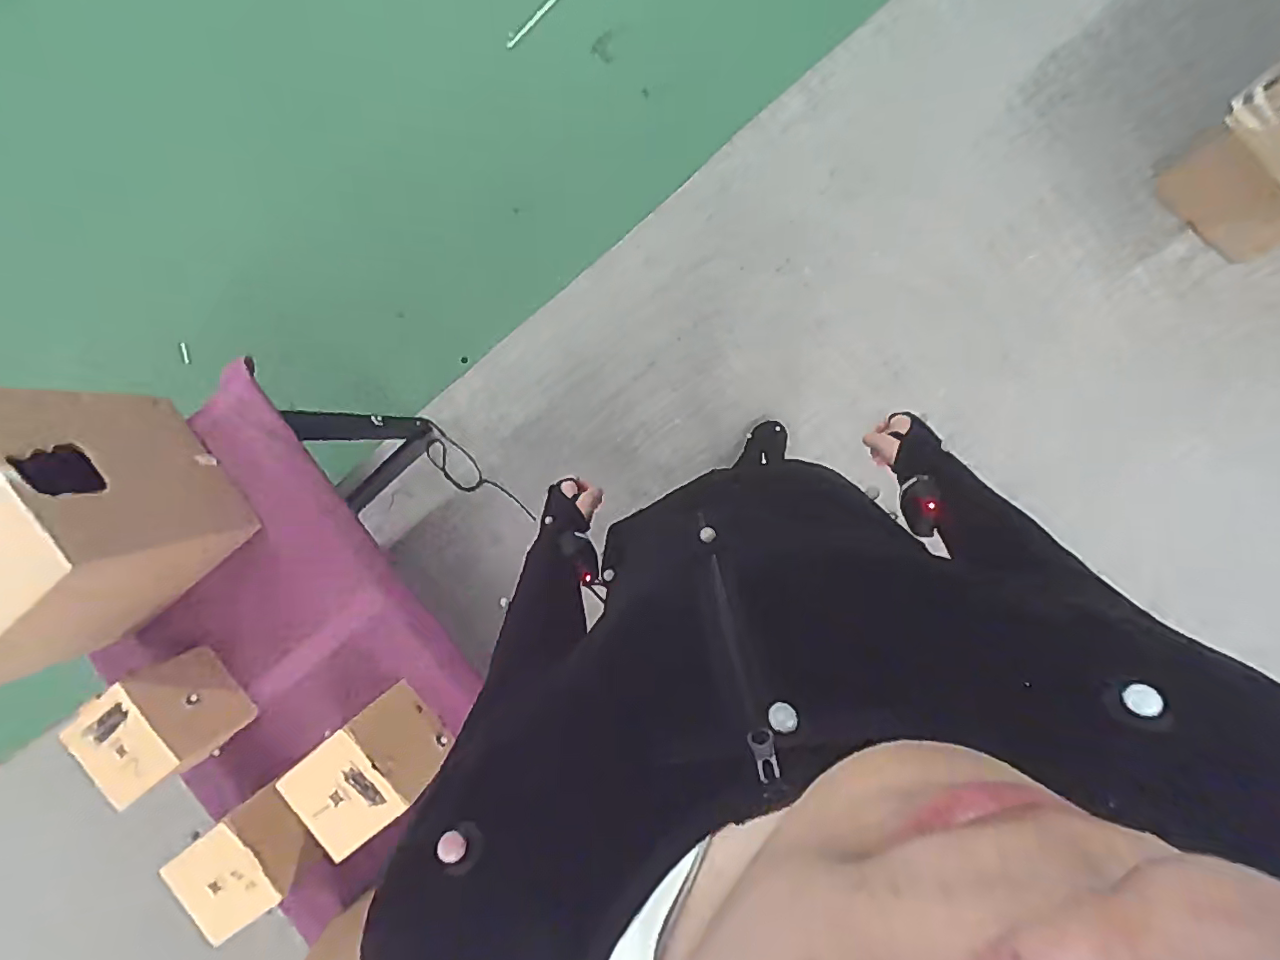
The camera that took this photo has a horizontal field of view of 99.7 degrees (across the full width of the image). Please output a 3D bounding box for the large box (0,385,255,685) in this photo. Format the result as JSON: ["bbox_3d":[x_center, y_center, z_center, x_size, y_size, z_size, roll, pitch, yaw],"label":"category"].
[{"bbox_3d":[-0.978,0.093,0.898,0.408,0.320,0.320,-37,91,9],"label":"large box"}]
